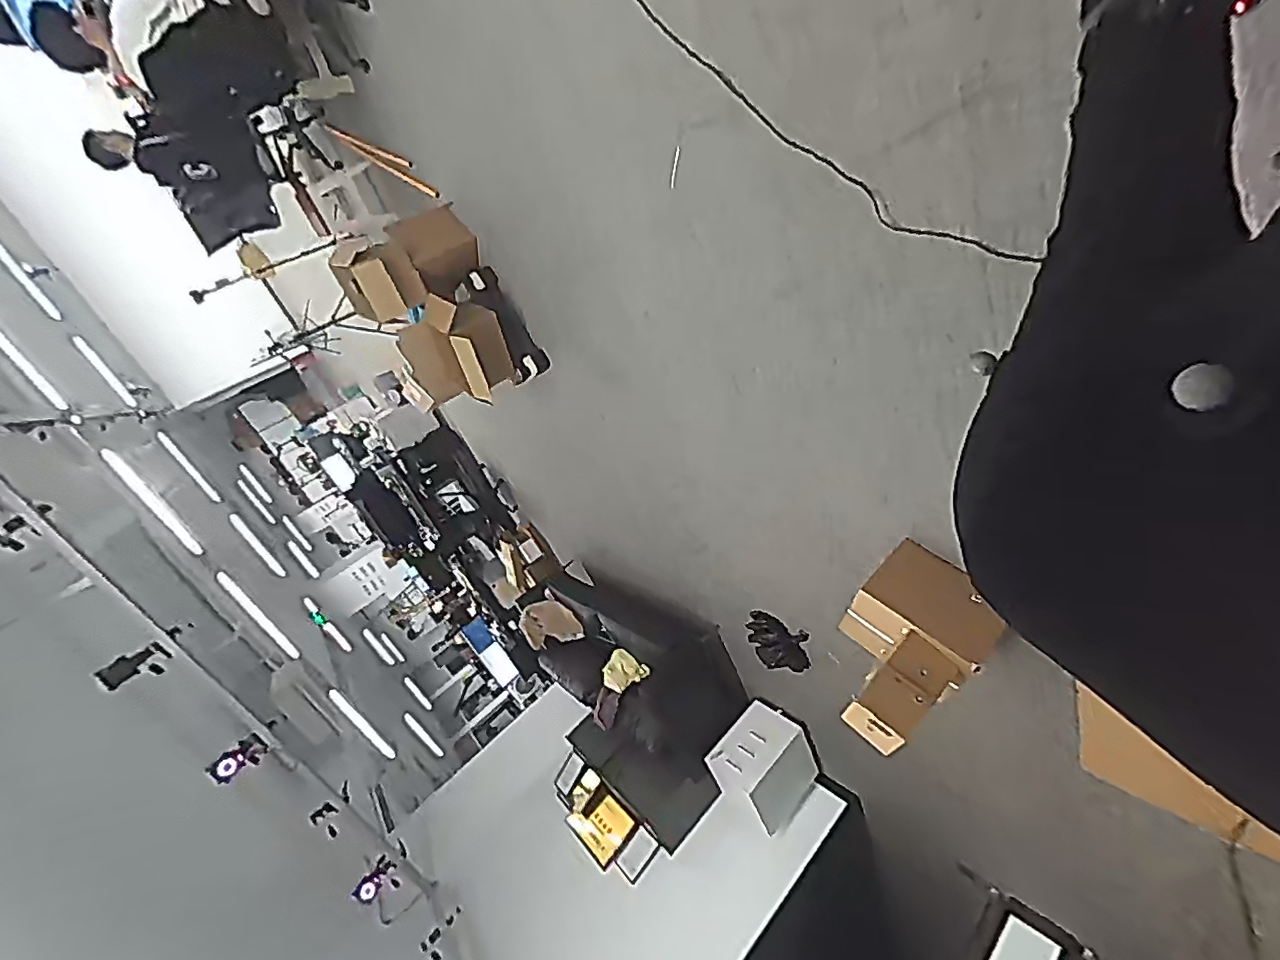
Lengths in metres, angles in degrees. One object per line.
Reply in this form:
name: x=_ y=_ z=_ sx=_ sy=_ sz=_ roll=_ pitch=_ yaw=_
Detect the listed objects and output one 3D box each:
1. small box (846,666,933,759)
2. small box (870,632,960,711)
small box: x=0.775 y=0.714 z=1.673 sx=0.168 sy=0.176 sz=0.179 roll=36 pitch=148 yaw=31
small box: x=0.895 y=0.633 z=1.757 sx=0.179 sy=0.176 sz=0.168 roll=40 pitch=153 yaw=27
